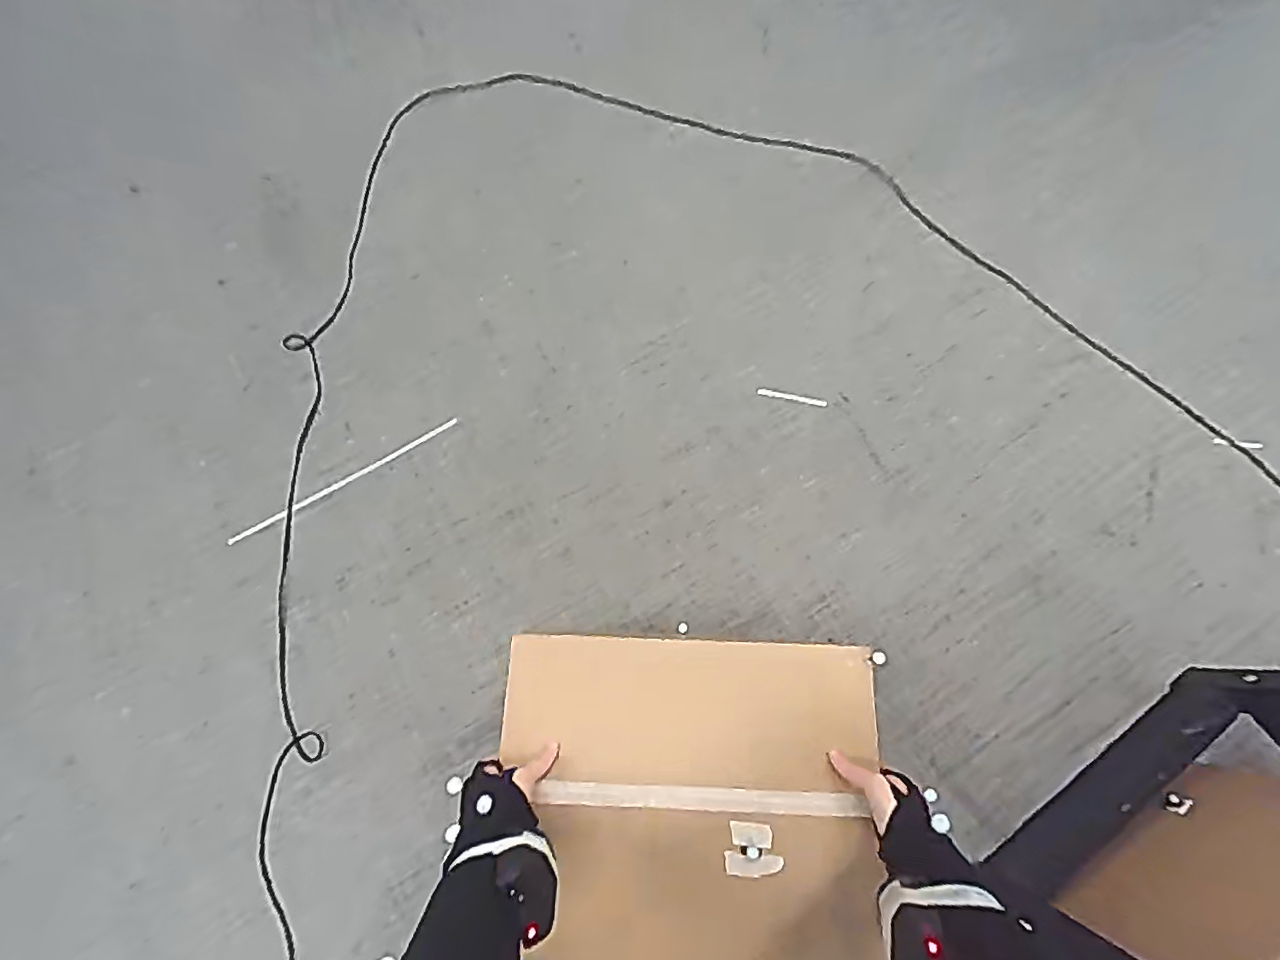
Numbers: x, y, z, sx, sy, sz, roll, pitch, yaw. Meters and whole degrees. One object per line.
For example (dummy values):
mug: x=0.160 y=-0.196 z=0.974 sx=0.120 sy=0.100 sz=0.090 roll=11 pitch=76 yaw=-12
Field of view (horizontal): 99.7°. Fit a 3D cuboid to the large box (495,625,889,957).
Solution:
large box: x=0.056 y=0.359 z=0.721 sx=0.408 sy=0.320 sz=0.320 roll=1 pitch=76 yaw=2
